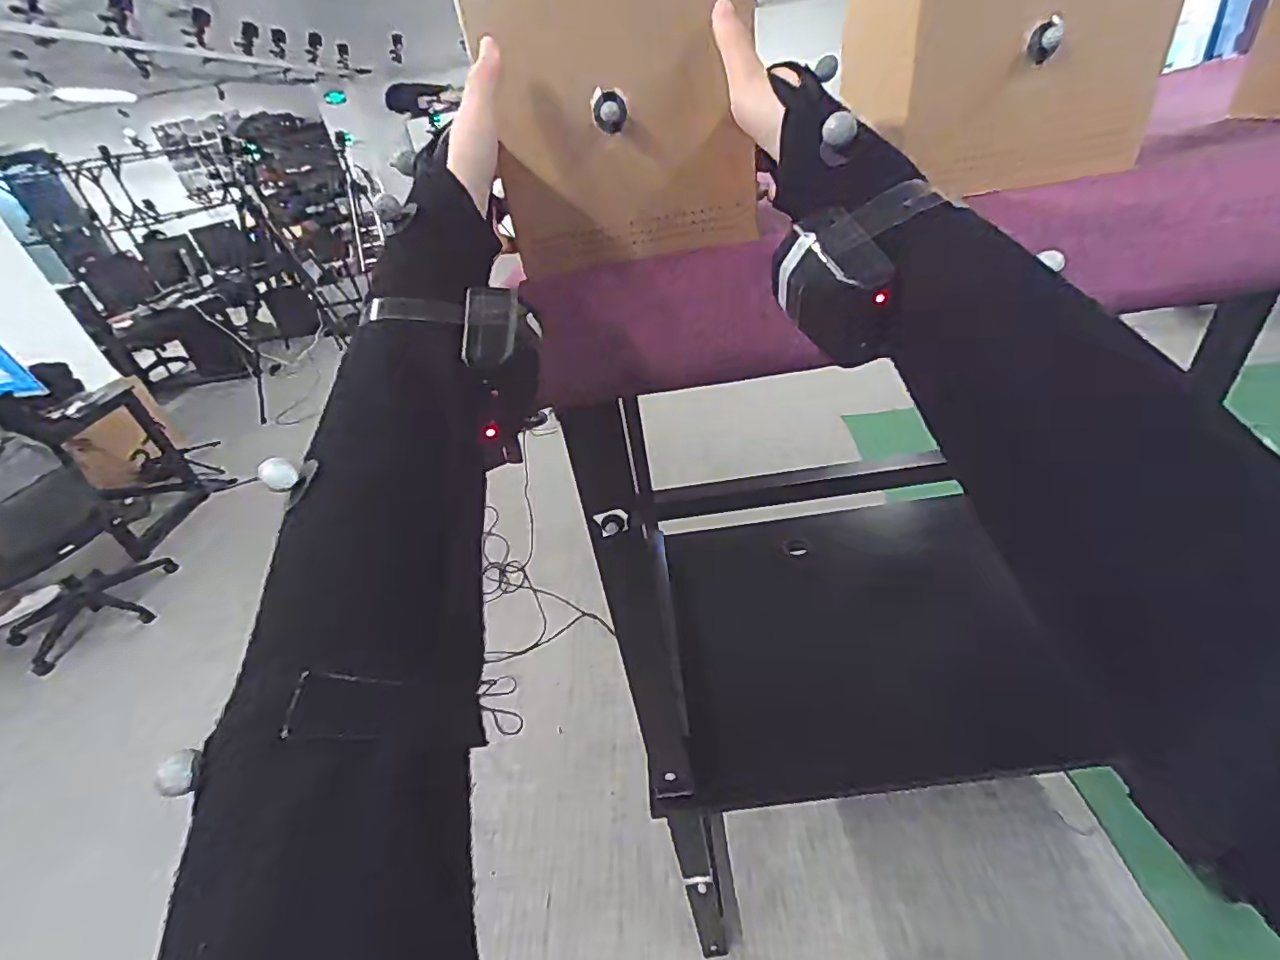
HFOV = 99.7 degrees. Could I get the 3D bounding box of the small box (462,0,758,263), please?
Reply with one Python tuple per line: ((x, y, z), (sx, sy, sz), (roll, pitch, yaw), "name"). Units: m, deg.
((-0.014, -0.280, 0.408), (0.179, 0.176, 0.168), (-10, 35, 1), "small box")
